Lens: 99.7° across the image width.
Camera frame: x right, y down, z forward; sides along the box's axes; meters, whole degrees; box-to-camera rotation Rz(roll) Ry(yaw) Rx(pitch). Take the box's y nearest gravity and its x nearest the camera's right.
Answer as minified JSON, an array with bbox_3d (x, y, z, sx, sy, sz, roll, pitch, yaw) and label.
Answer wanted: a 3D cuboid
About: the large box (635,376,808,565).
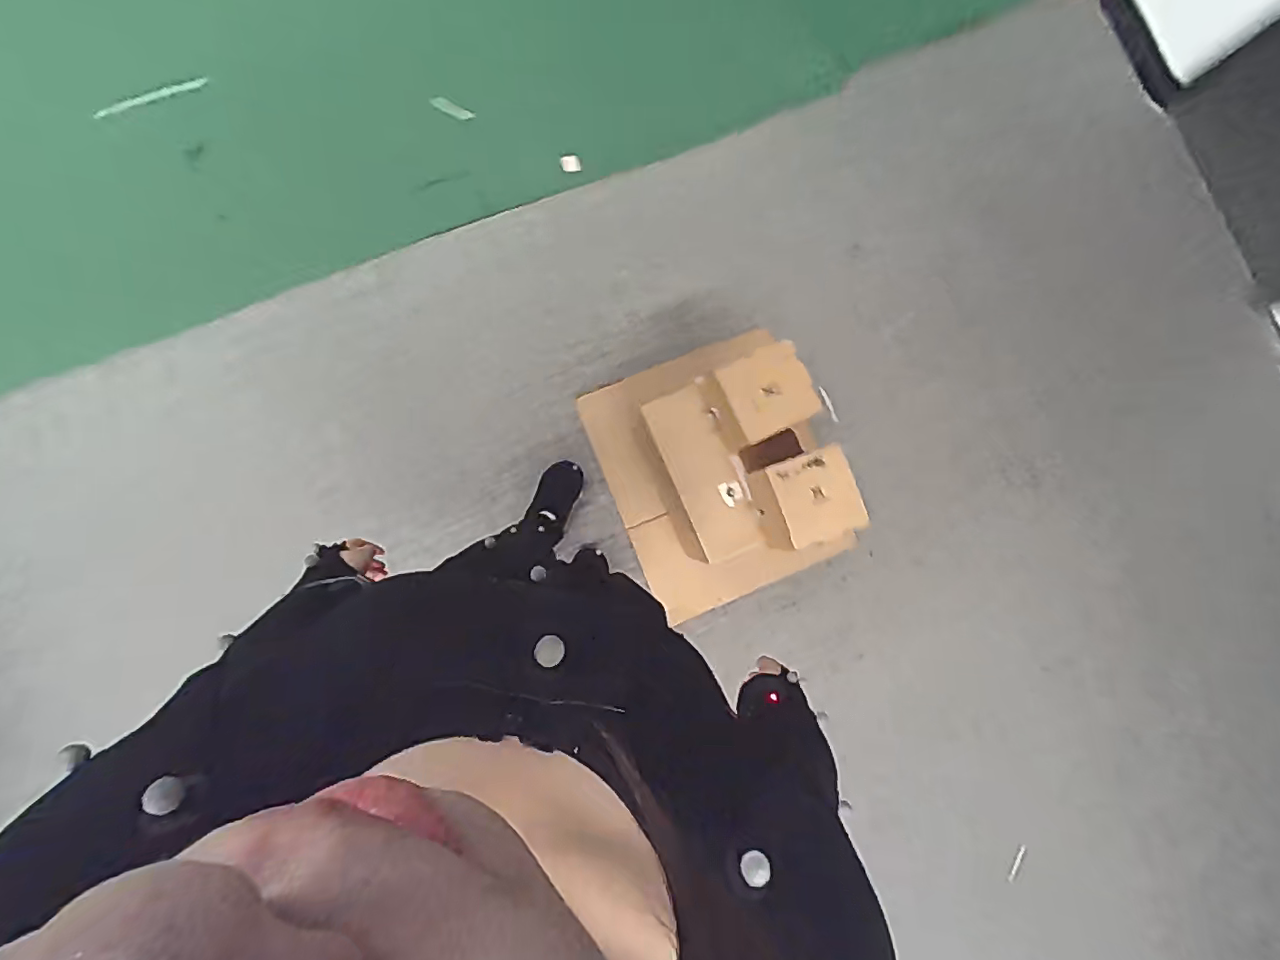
[{"bbox_3d":[0.214,-0.037,1.390,0.320,0.320,0.408,-24,89,-5],"label":"large box"}]

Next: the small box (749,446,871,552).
[{"bbox_3d":[0.351,0.042,1.147,0.168,0.176,0.179,-18,87,-6],"label":"small box"}]

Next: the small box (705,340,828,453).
[{"bbox_3d":[0.261,-0.171,1.159,0.179,0.176,0.168,-26,88,-6],"label":"small box"}]
